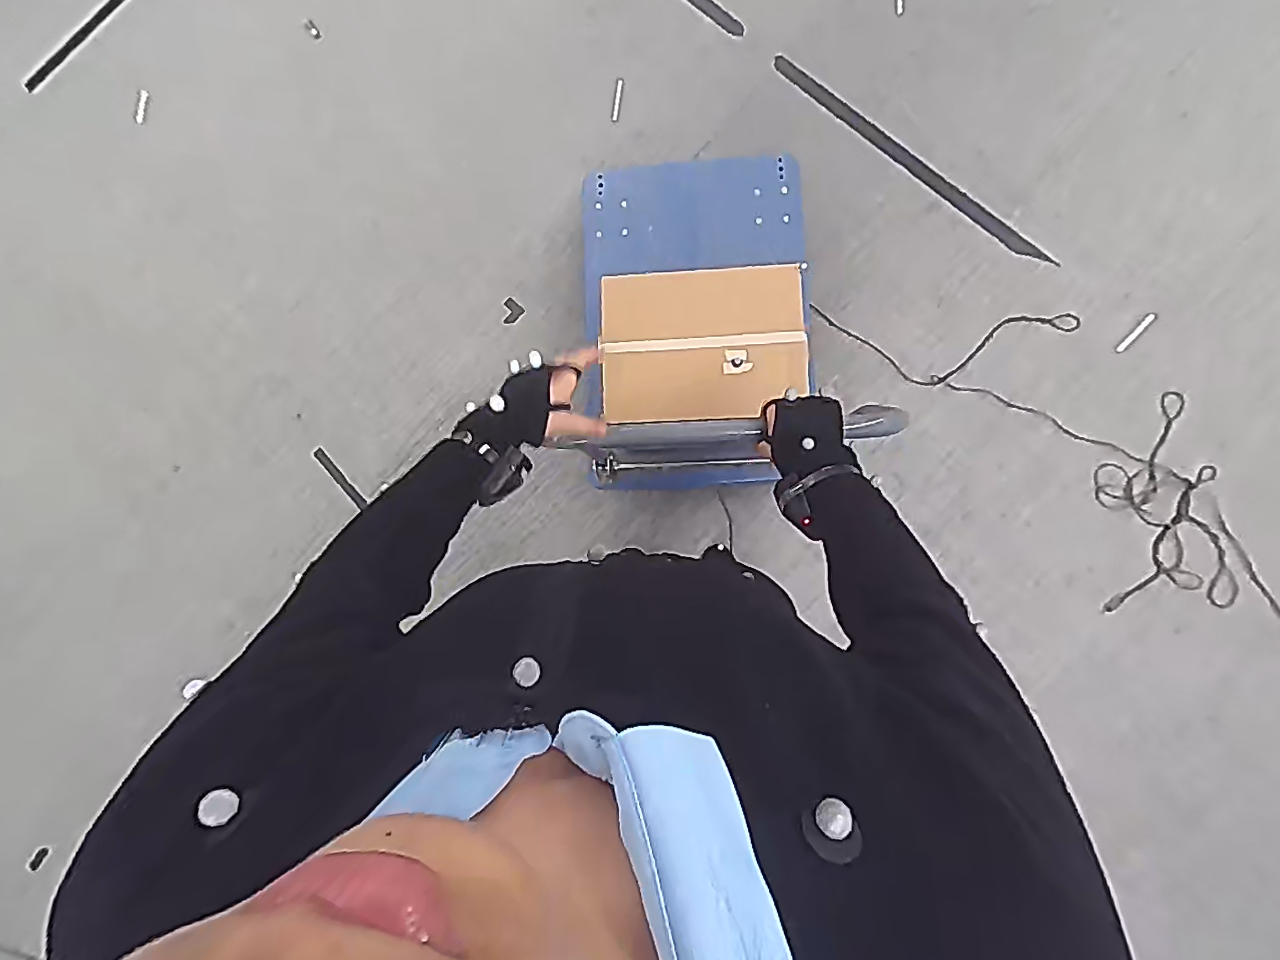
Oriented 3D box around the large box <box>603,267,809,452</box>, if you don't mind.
[{"bbox_3d":[0.136,-0.251,1.232,0.408,0.320,0.320,-2,83,4],"label":"large box"}]
